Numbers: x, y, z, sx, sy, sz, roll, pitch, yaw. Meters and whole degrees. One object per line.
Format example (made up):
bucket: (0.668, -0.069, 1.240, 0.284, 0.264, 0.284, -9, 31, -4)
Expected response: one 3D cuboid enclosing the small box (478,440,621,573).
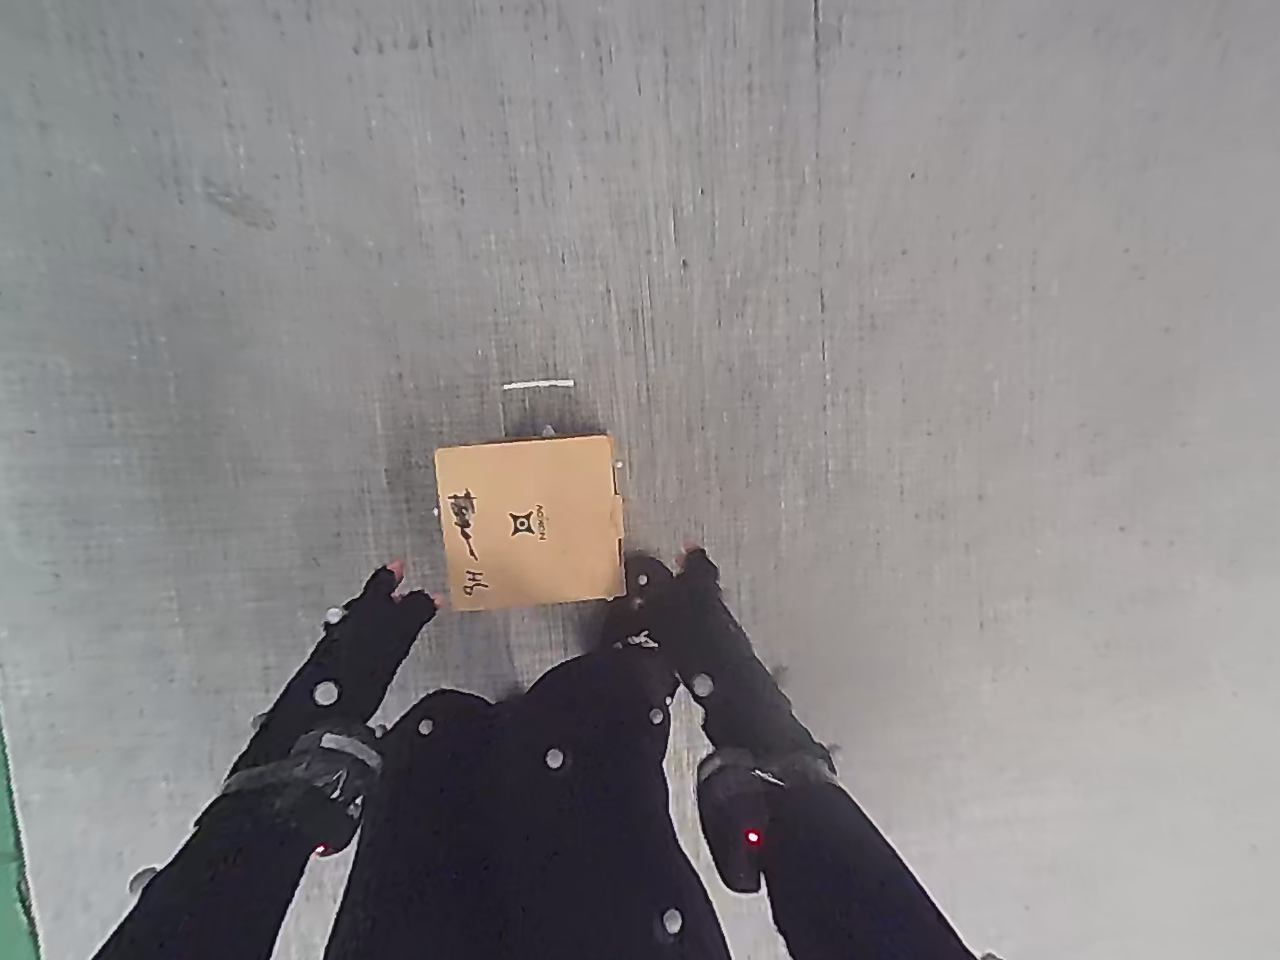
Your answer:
small box: (-0.120, 0.030, 0.784, 0.179, 0.176, 0.168, -4, 94, 0)
